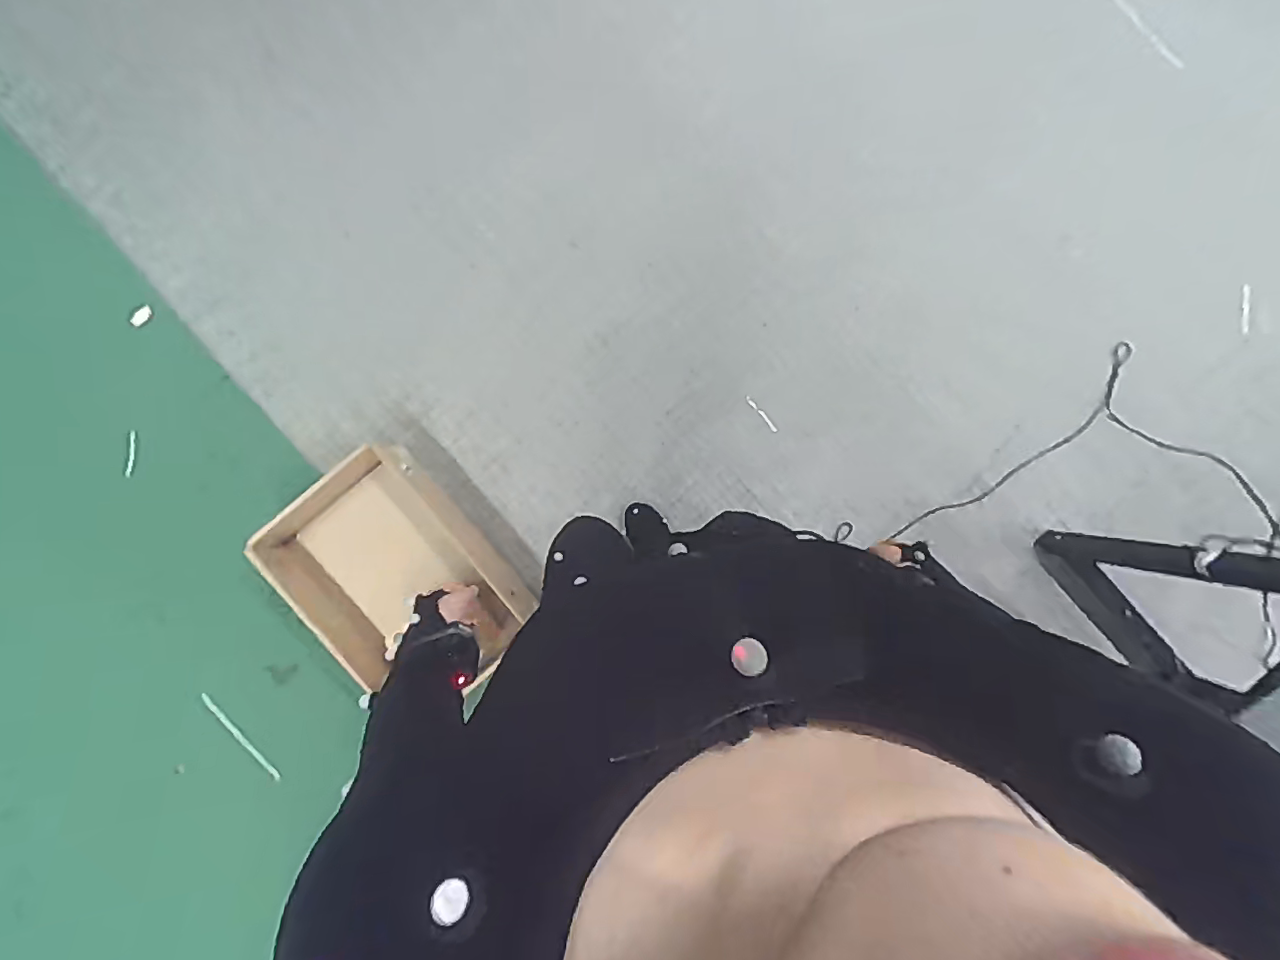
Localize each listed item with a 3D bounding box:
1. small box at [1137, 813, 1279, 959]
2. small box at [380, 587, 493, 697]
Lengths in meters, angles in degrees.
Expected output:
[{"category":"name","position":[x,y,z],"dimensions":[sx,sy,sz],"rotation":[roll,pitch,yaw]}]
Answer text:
[{"category":"small box","position":[0.816,0.583,0.693],"dimensions":[0.179,0.176,0.168],"rotation":[-43,92,0]},{"category":"small box","position":[-0.488,0.387,1.329],"dimensions":[0.168,0.176,0.179],"rotation":[-40,92,-2]}]
